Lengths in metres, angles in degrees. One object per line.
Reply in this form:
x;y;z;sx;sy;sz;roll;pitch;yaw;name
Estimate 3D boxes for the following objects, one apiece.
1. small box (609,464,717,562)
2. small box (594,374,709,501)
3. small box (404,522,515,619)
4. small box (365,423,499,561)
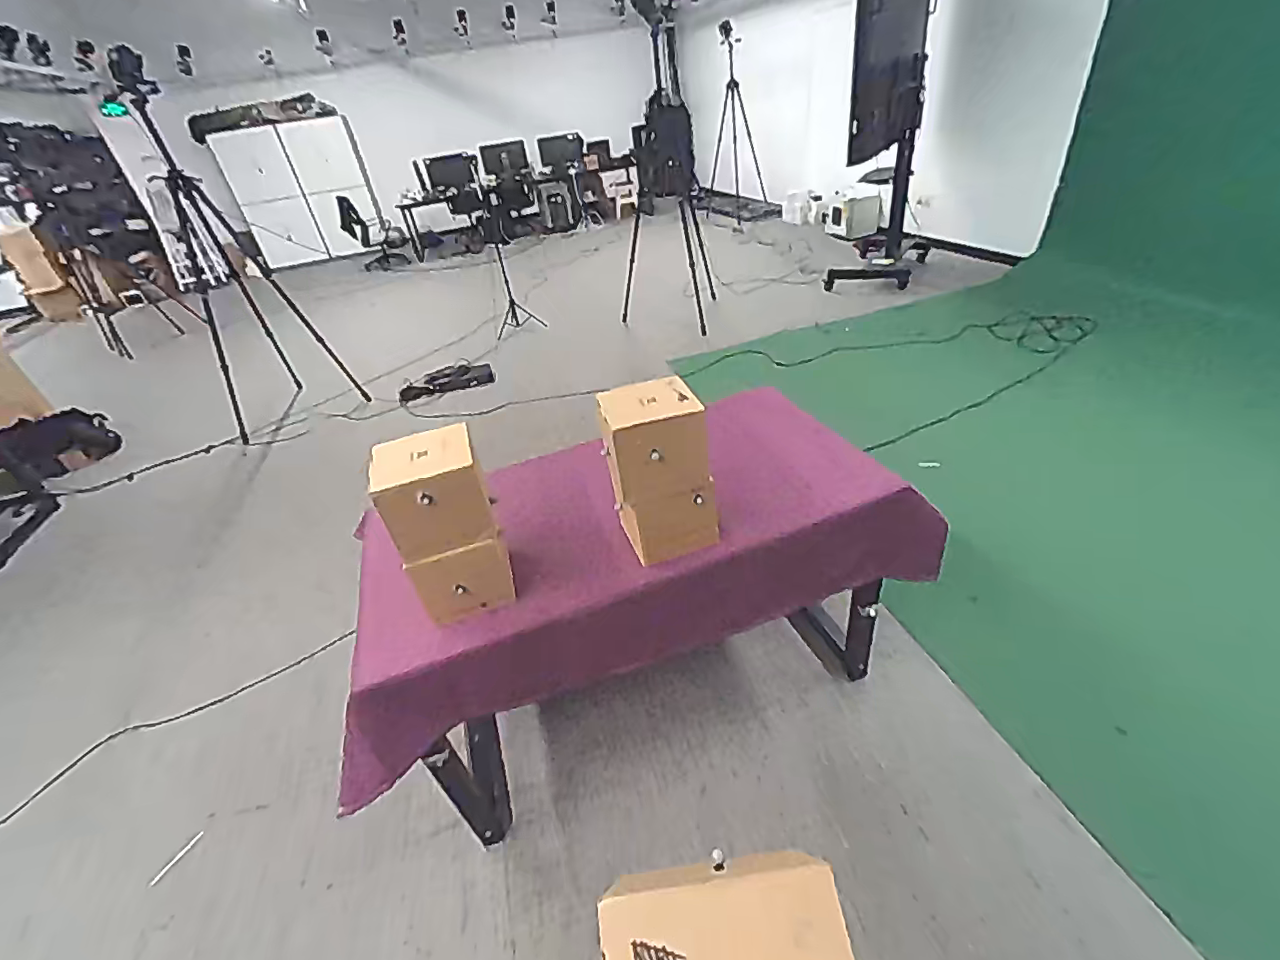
0.051;0.047;1.146;0.179;0.176;0.168;-17;36;-11;small box
0.023;-0.082;1.048;0.179;0.176;0.168;-15;35;-7;small box
-0.358;0.156;1.089;0.168;0.176;0.179;-16;36;-10;small box
-0.376;0.023;0.997;0.179;0.176;0.168;-17;37;-11;small box
